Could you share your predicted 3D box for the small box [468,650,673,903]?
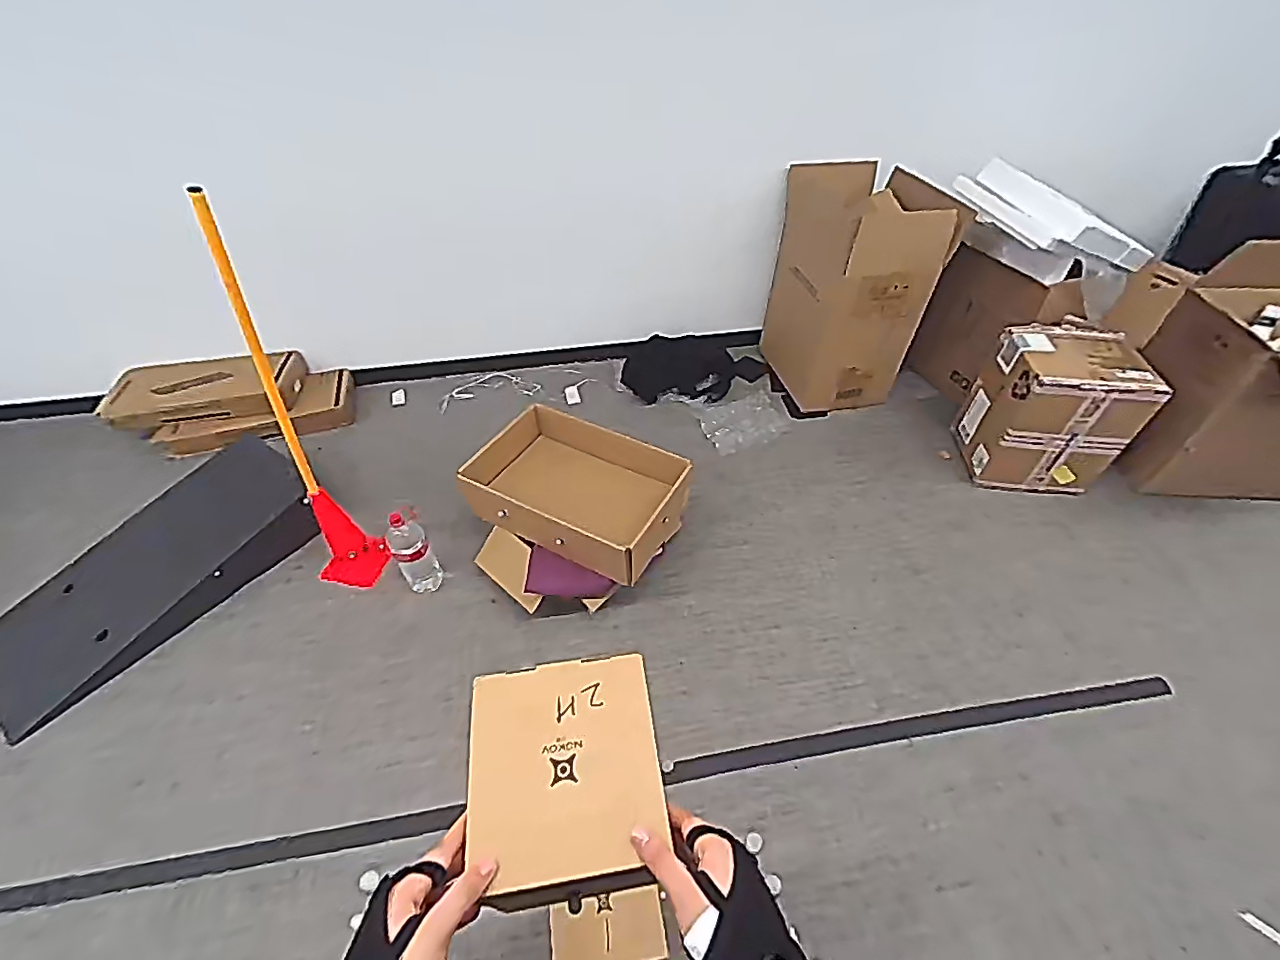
[{"bbox_3d":[-0.063,0.296,0.535,0.168,0.176,0.179,-7,48,-6],"label":"small box"}]
